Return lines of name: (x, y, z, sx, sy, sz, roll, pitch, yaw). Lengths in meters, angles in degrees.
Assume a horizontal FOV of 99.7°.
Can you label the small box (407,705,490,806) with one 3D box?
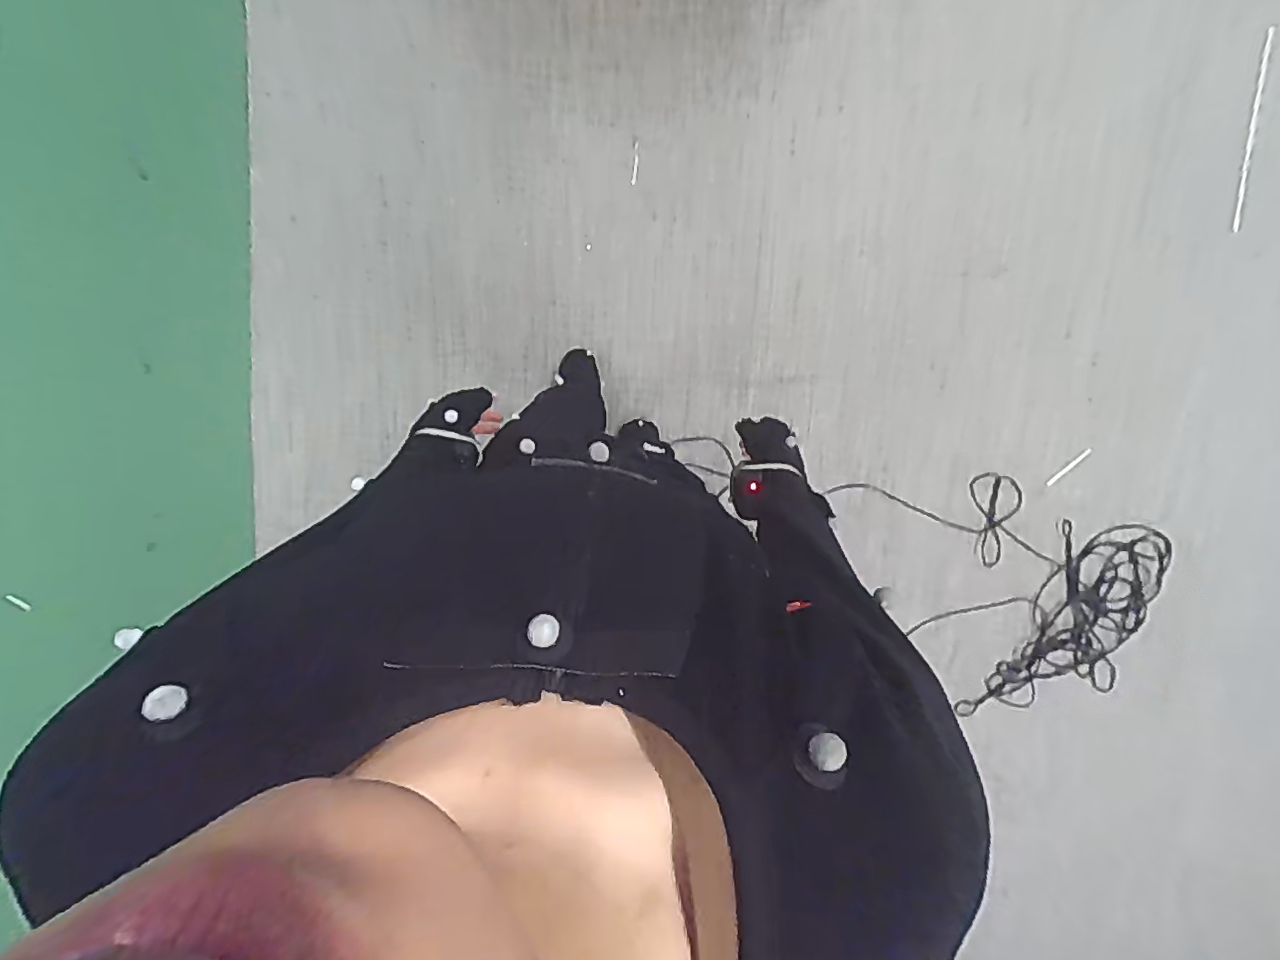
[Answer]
small box: (-0.523, 0.757, 1.497, 0.168, 0.176, 0.179, 6, 96, 1)
